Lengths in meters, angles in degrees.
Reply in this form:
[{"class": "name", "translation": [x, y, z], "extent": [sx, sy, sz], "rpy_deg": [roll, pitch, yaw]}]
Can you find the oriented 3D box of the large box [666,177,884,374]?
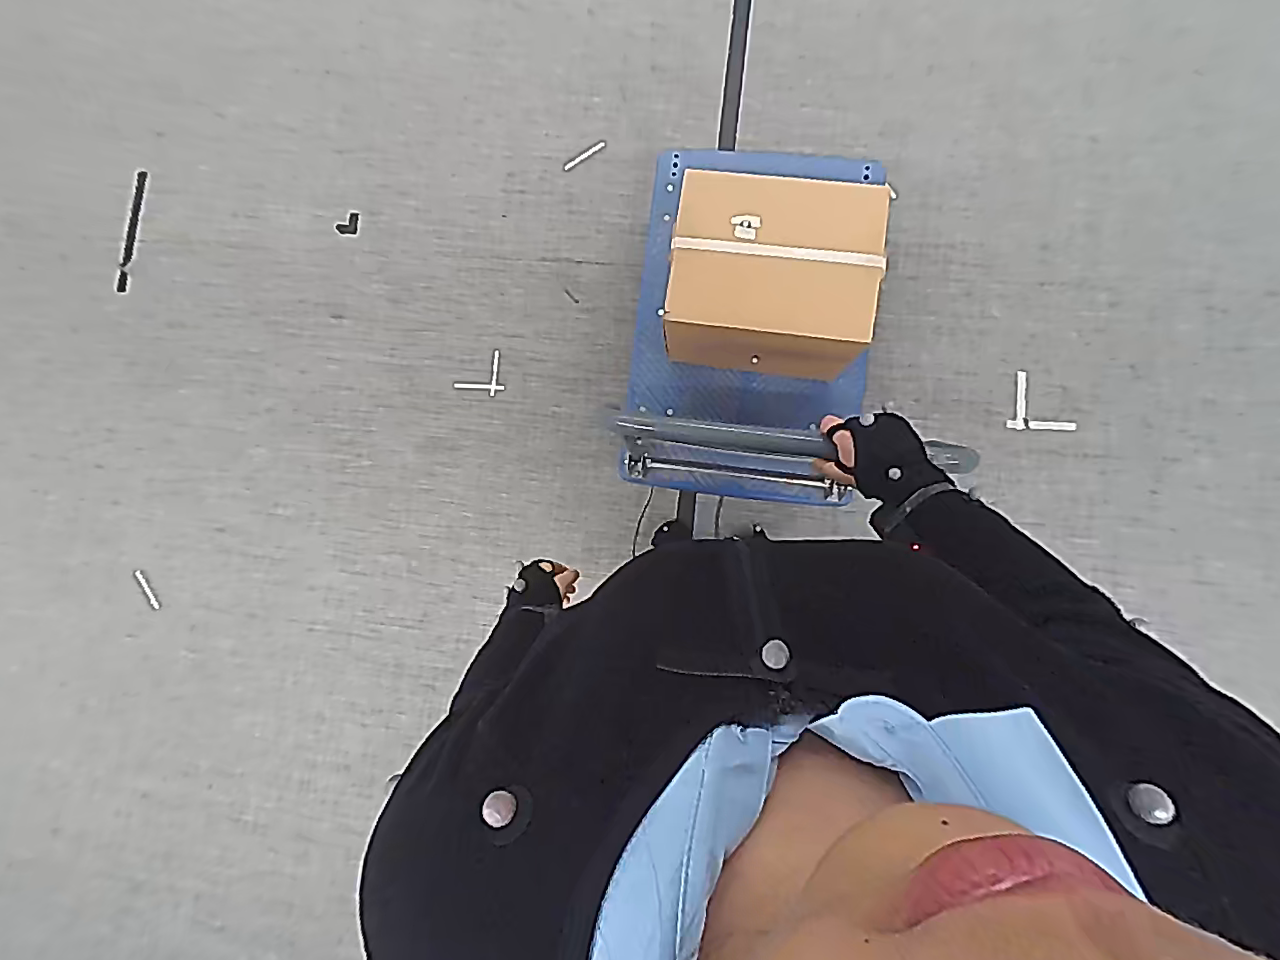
[{"class": "large box", "translation": [0.284, -0.438, 1.220], "extent": [0.408, 0.320, 0.320], "rpy_deg": [7, 87, 7]}]
